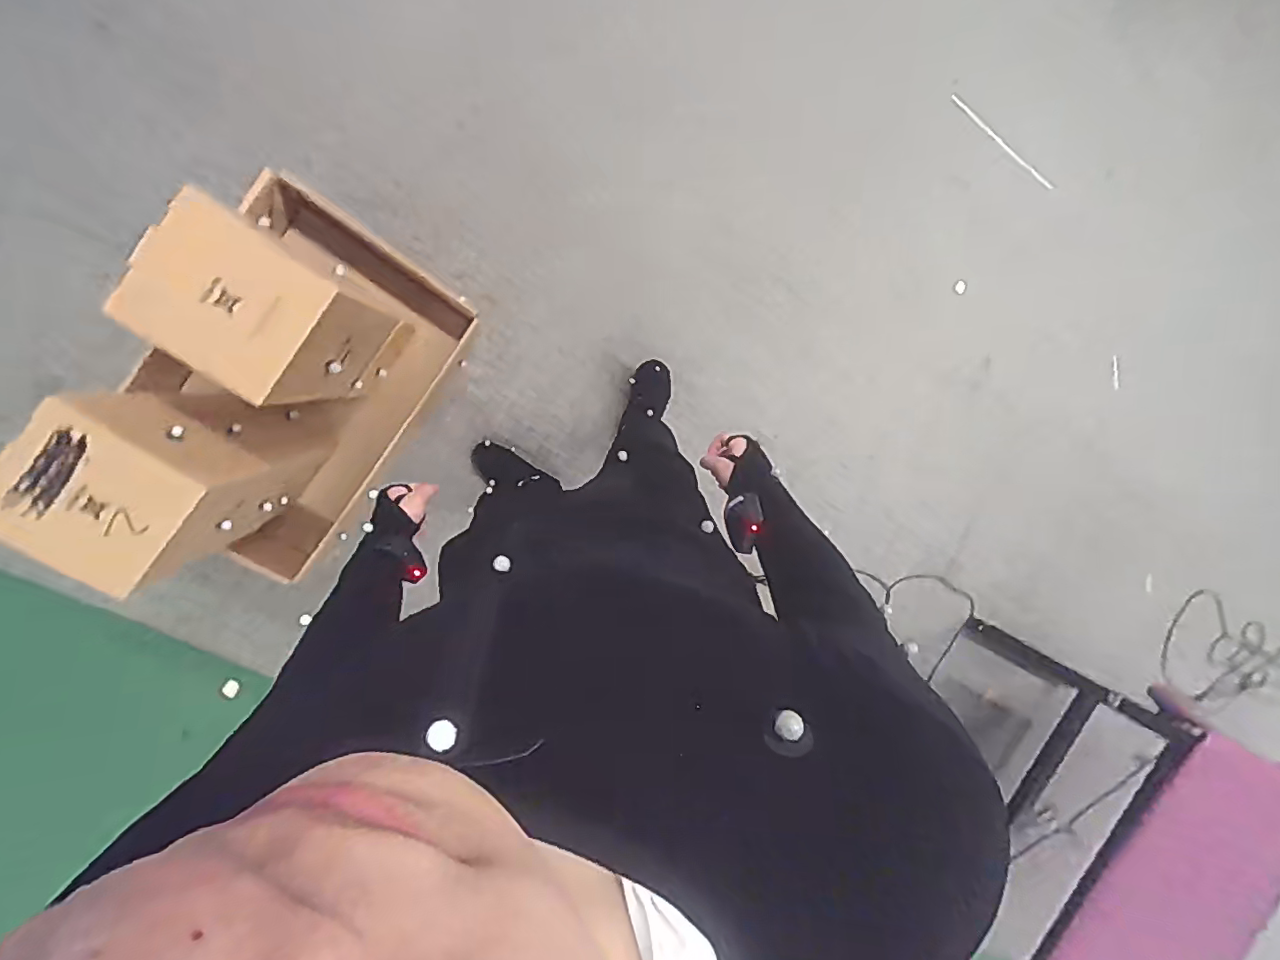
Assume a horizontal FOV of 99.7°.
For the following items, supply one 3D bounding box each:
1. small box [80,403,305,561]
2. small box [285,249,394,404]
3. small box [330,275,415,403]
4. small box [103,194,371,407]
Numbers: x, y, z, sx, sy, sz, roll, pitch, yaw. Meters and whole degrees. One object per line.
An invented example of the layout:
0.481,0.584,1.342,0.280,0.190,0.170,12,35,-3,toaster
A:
-0.666,-0.008,0.835,0.179,0.176,0.168,36,89,-15,small box
-0.512,-0.235,0.831,0.179,0.176,0.168,35,91,-14,small box
-0.543,-0.261,0.990,0.179,0.176,0.168,35,91,-14,small box
-0.476,-0.206,0.674,0.179,0.176,0.168,36,91,-15,small box
